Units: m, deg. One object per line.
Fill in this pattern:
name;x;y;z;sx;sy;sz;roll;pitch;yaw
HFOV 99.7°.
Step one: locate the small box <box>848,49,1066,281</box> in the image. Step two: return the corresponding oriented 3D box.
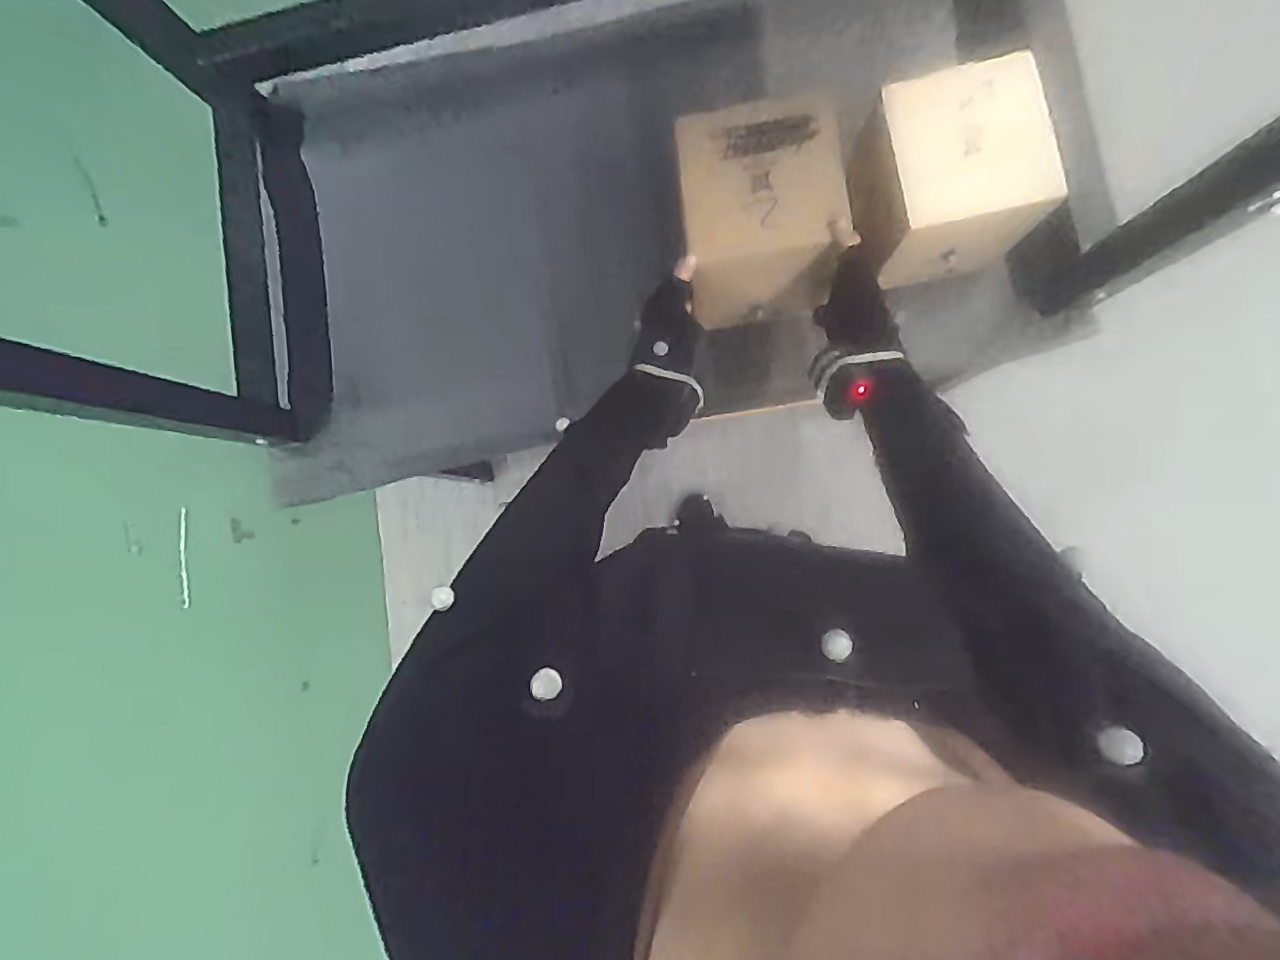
small box;0.376;-0.370;0.675;0.168;0.176;0.179;-11;84;7
